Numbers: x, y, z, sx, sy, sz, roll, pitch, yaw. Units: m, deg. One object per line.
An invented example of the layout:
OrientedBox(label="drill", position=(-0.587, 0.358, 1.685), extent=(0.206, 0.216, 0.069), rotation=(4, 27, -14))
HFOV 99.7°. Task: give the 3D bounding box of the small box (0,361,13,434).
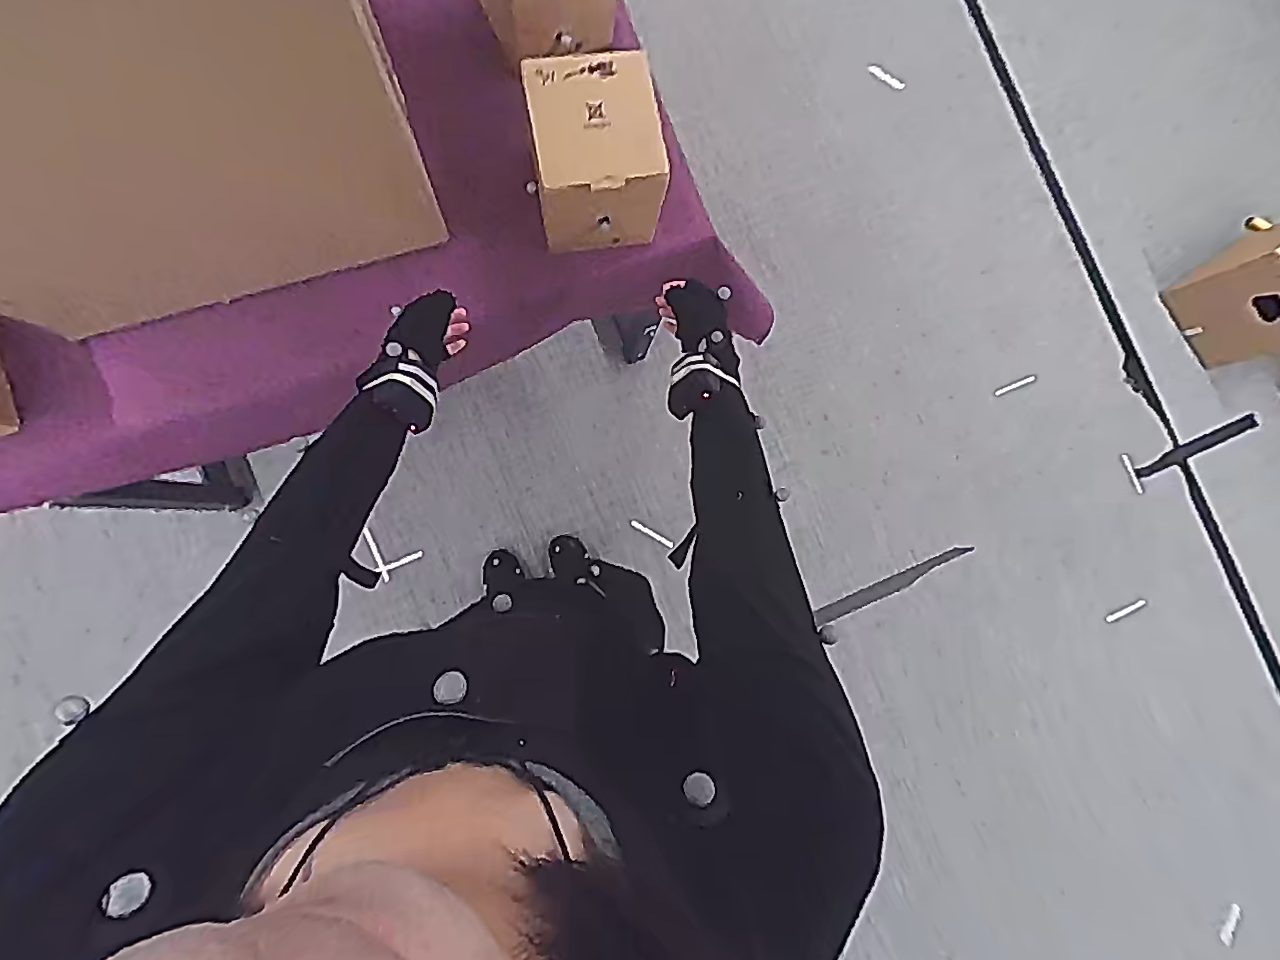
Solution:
OrientedBox(label="small box", position=(-0.910, -0.129, 0.628), extent=(0.168, 0.176, 0.179), rotation=(-20, 85, -12))

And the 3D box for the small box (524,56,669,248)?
OrientedBox(label="small box", position=(-0.064, -0.450, 0.769), extent=(0.168, 0.176, 0.179), rotation=(-10, 87, -8))
